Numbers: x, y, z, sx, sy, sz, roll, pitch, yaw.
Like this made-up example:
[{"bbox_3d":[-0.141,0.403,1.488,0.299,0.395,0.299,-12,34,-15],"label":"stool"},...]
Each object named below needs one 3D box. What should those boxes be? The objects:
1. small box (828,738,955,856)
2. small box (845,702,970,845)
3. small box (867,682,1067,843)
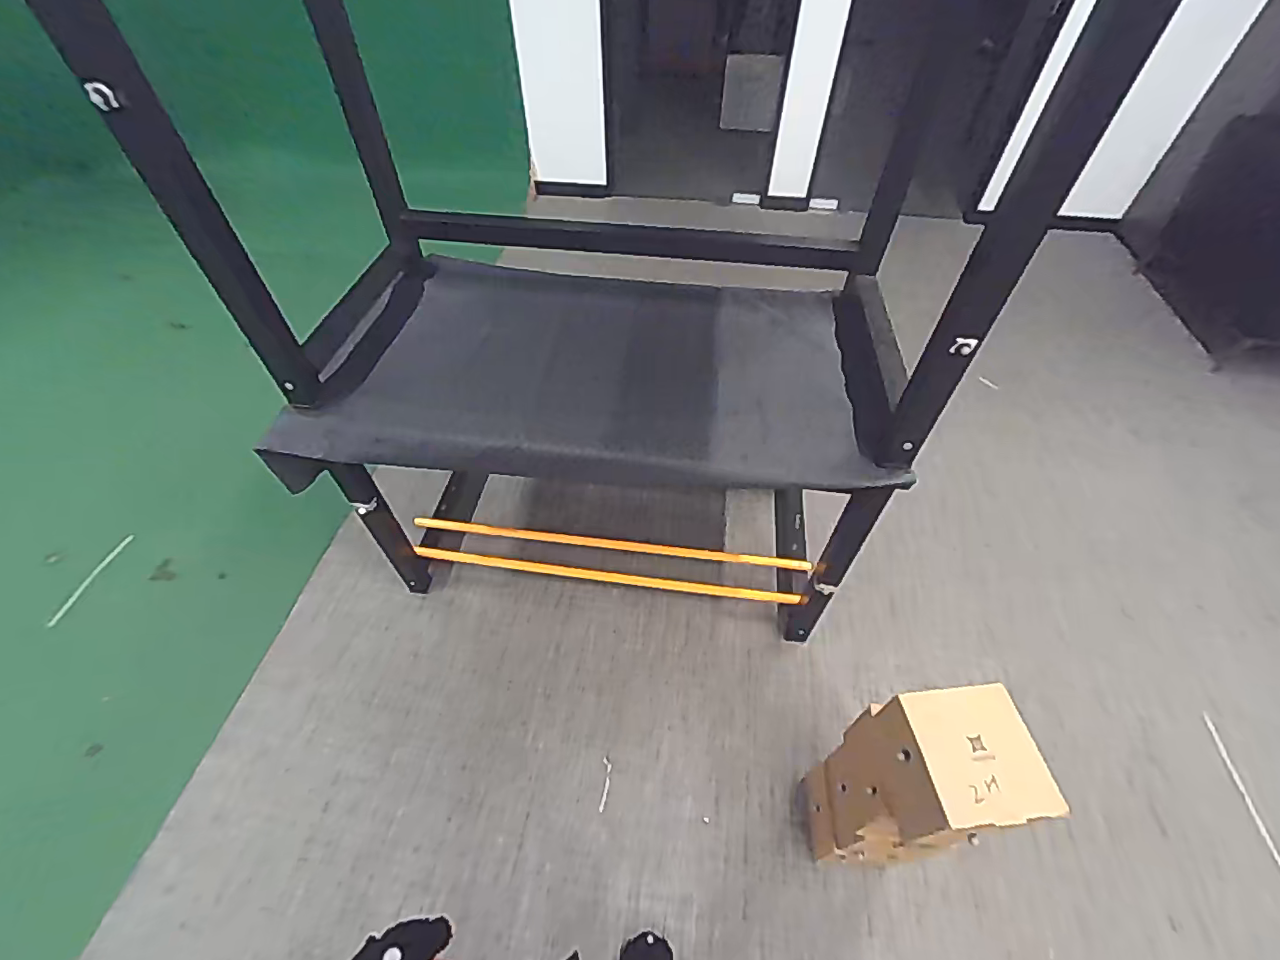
[{"bbox_3d":[0.482,0.626,1.068,0.168,0.176,0.179,4,49,3],"label":"small box"},{"bbox_3d":[0.470,0.515,0.948,0.168,0.176,0.179,6,51,5],"label":"small box"},{"bbox_3d":[0.467,0.425,0.811,0.168,0.176,0.179,-4,51,-3],"label":"small box"}]
